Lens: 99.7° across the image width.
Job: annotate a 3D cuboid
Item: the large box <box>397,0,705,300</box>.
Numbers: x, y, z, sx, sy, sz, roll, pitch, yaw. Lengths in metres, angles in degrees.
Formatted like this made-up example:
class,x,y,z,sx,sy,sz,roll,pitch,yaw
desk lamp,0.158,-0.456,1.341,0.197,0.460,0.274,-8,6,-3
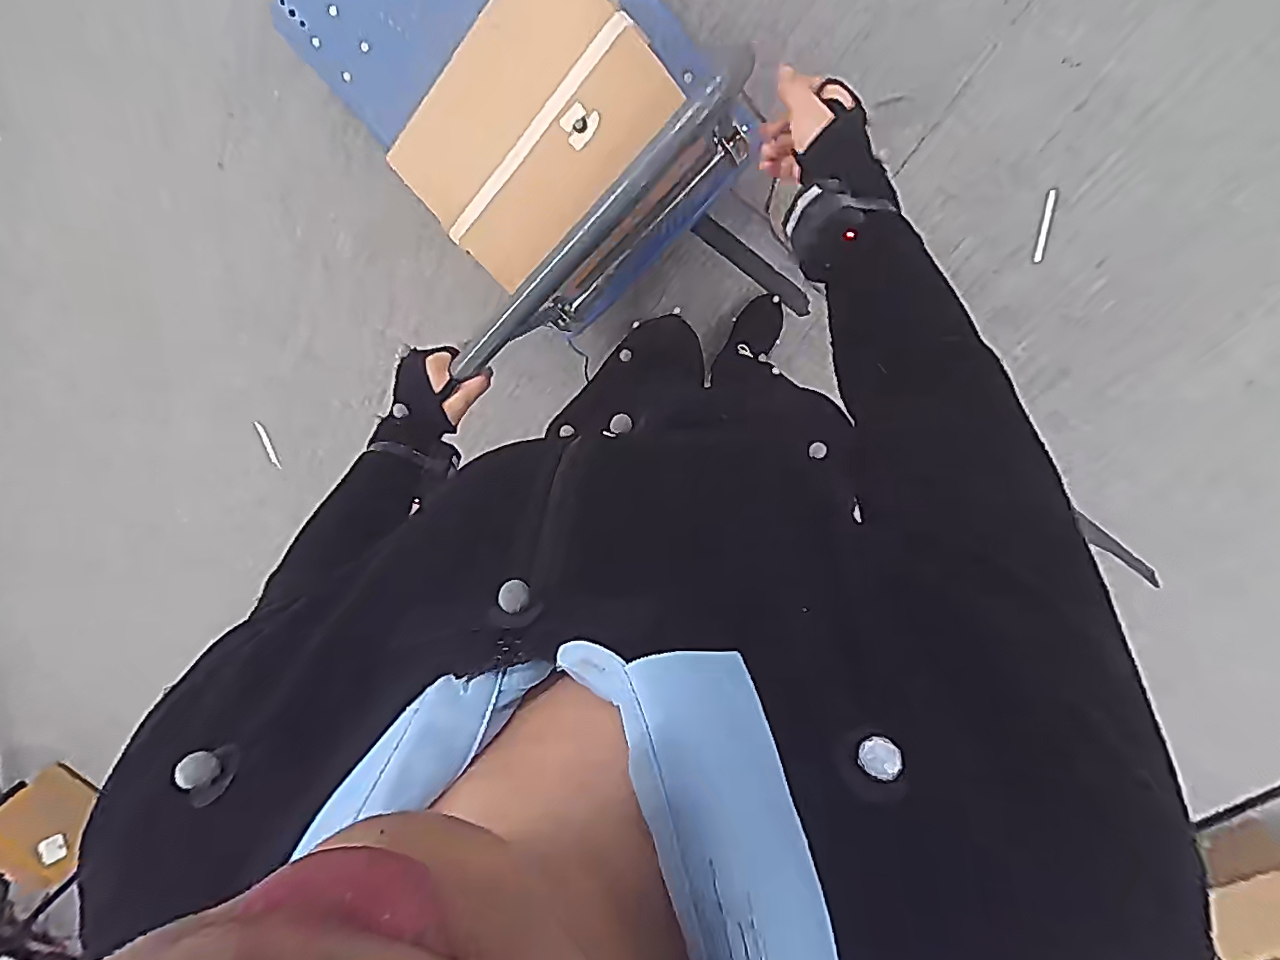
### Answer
class,x,y,z,sx,sy,sz,roll,pitch,yaw
large box,-0.136,-0.587,0.969,0.408,0.320,0.320,-39,102,22
